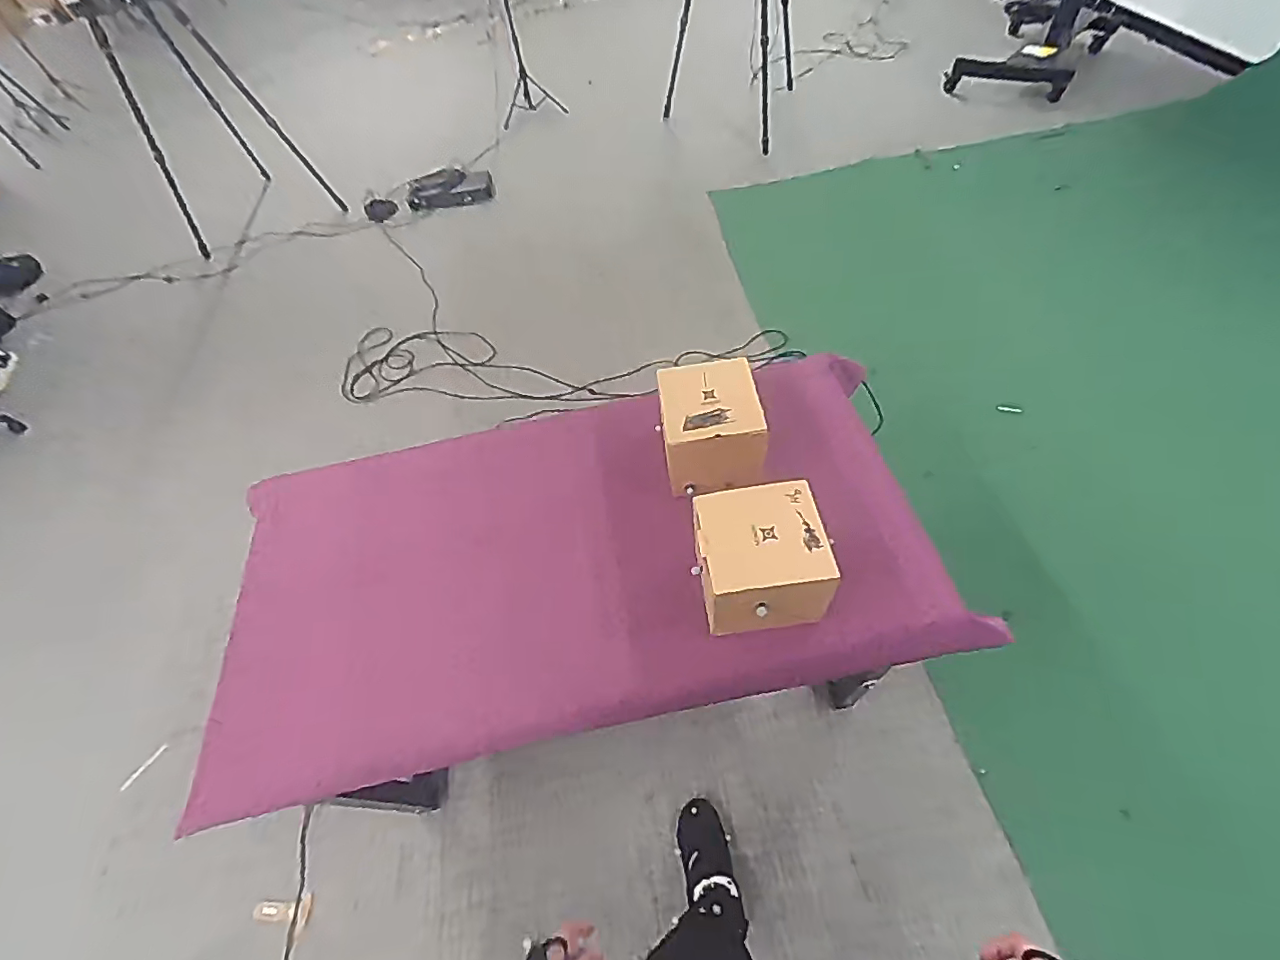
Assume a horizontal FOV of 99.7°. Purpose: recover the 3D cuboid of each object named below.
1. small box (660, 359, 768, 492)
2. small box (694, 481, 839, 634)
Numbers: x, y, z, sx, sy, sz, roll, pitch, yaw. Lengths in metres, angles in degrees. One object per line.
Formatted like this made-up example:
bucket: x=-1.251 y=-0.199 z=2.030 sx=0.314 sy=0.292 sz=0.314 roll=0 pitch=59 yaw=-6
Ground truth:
small box: x=0.131 y=-0.091 z=0.985 sx=0.168 sy=0.176 sz=0.179 roll=-7 pitch=55 yaw=2
small box: x=0.184 y=0.125 z=0.830 sx=0.179 sy=0.176 sz=0.168 roll=-8 pitch=54 yaw=3
